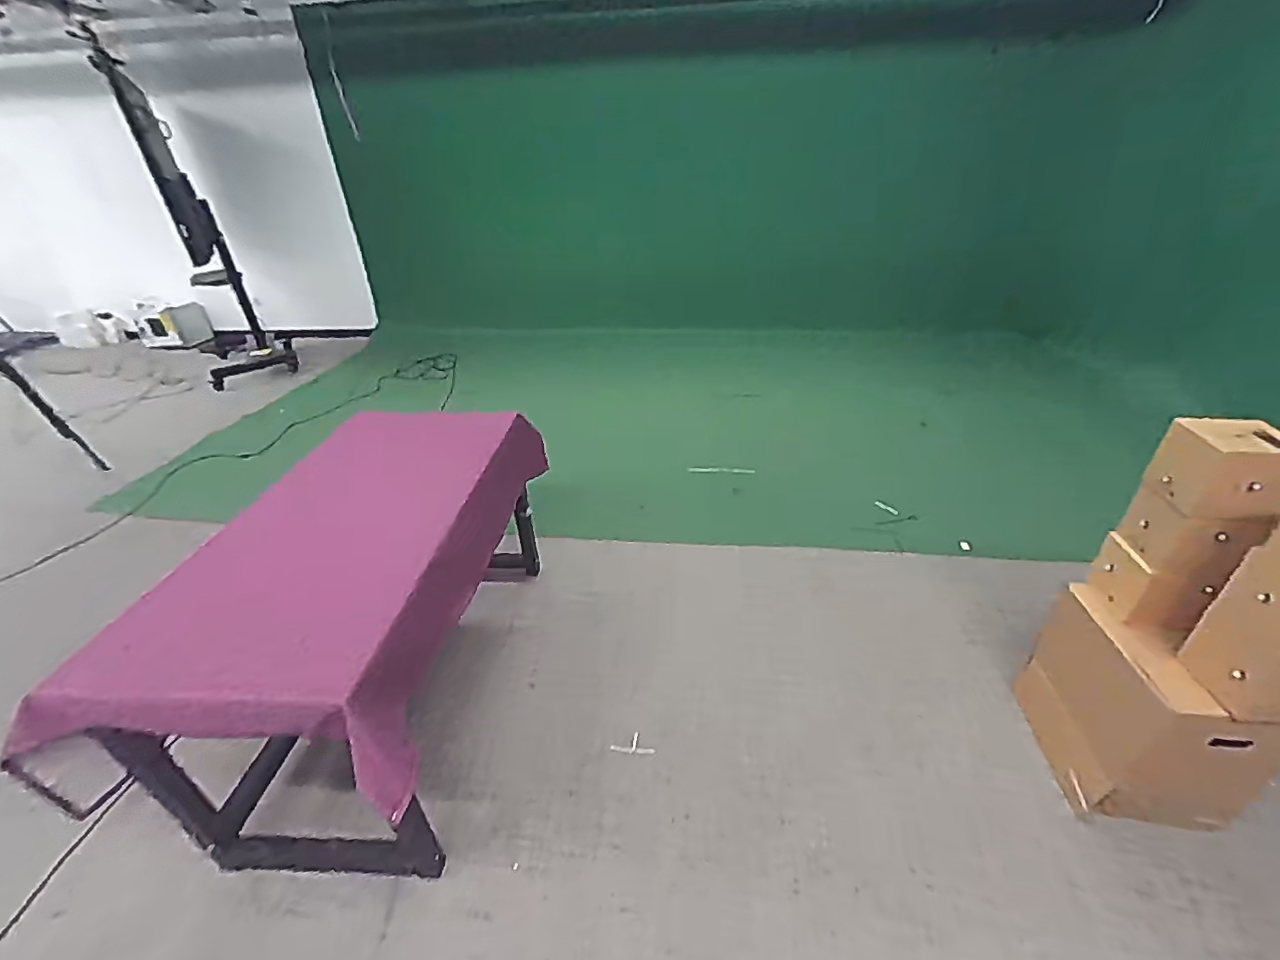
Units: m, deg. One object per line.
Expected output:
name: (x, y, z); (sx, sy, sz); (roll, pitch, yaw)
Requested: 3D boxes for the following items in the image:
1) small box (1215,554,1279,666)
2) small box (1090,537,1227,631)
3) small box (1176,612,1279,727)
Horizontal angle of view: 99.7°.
small box: (1.332, 0.271, 1.073); (0.168, 0.176, 0.179); (3, 30, 6)
small box: (1.309, 0.267, 1.388); (0.179, 0.176, 0.168); (4, 34, 7)
small box: (1.334, 0.410, 1.161); (0.168, 0.176, 0.179); (3, 31, 5)
